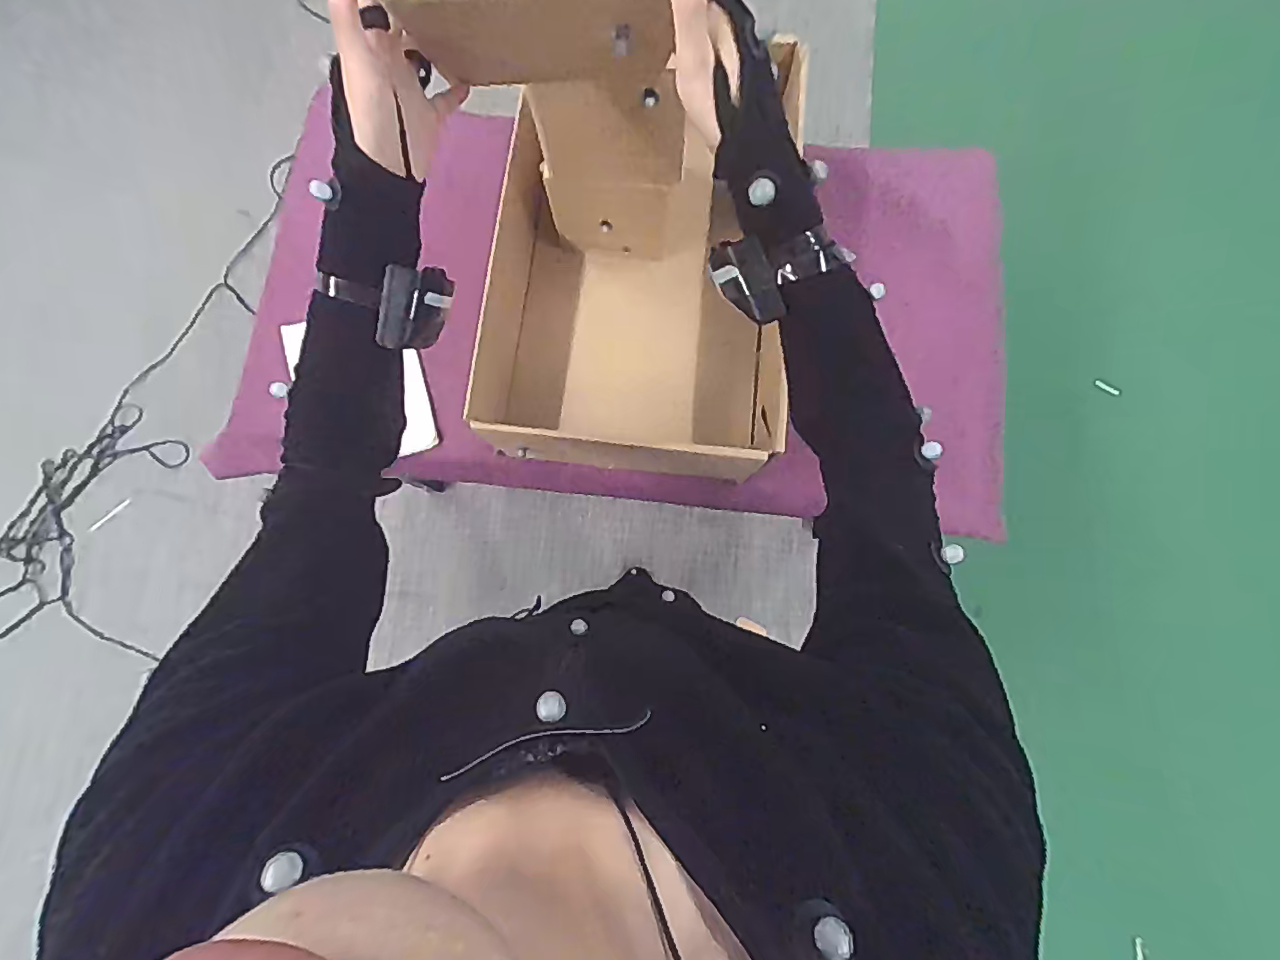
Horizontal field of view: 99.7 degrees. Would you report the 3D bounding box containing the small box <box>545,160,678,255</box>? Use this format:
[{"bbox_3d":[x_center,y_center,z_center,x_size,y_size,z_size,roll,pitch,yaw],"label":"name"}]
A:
[{"bbox_3d":[-0.030,-0.453,0.783,0.168,0.176,0.179,7,82,2],"label":"small box"}]

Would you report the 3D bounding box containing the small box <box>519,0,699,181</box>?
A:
[{"bbox_3d":[-0.027,-0.475,0.623,0.179,0.176,0.168,4,81,1],"label":"small box"}]
